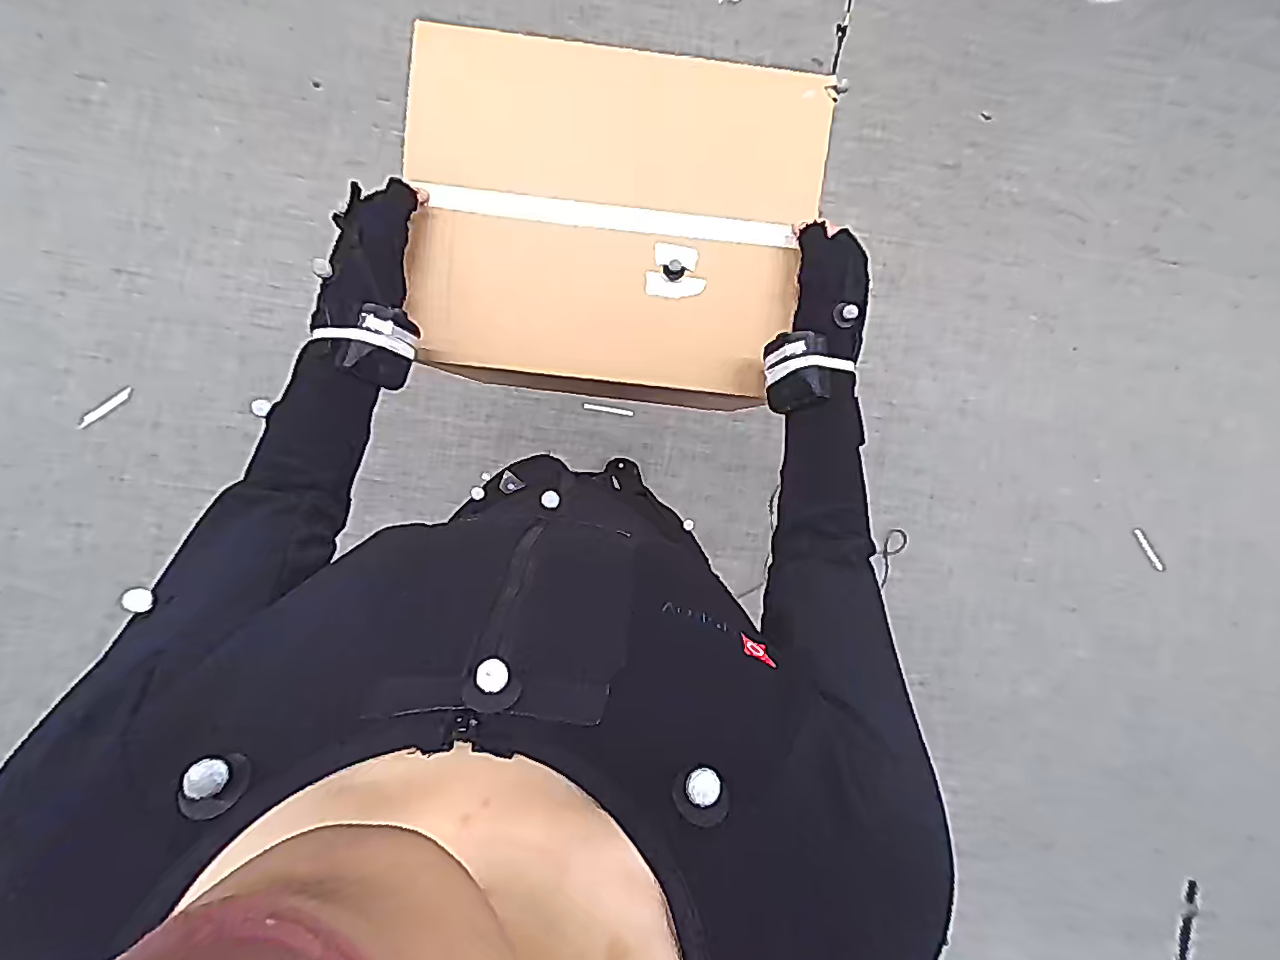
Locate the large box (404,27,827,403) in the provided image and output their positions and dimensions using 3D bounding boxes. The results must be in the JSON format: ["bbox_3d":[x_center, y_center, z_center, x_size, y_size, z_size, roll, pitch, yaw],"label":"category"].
[{"bbox_3d":[-0.033,-0.276,0.682,0.408,0.320,0.320,6,95,-3],"label":"large box"}]

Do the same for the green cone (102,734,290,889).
[{"bbox_3d":[-1.037,0.782,1.239,0.202,0.368,0.200,-29,89,-2],"label":"green cone"}]
